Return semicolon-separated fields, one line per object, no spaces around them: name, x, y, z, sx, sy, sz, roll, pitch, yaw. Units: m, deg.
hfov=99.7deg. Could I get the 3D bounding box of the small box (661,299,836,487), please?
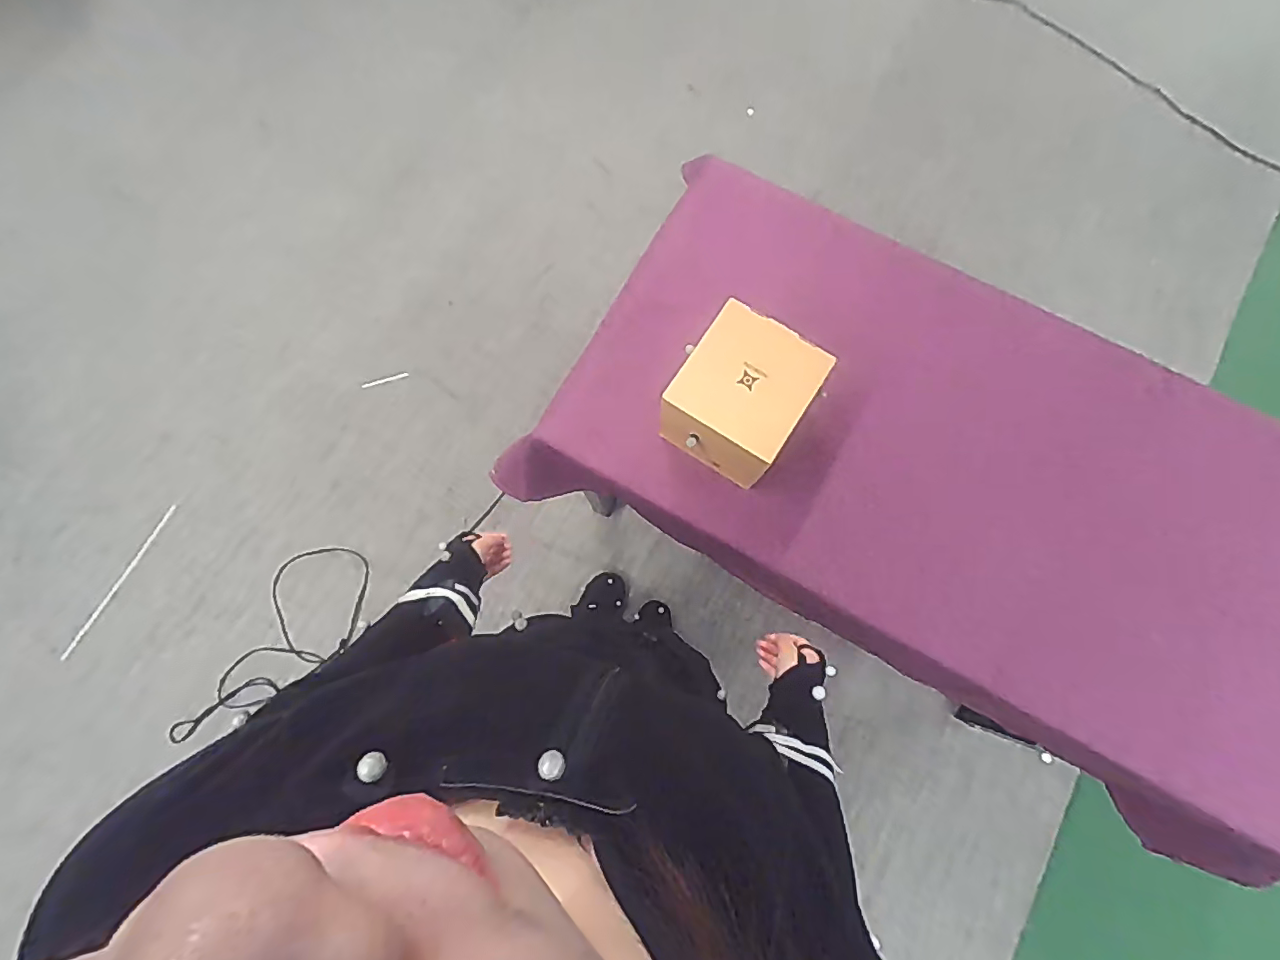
small box;0.144;-0.112;0.776;0.168;0.176;0.179;33;79;8
